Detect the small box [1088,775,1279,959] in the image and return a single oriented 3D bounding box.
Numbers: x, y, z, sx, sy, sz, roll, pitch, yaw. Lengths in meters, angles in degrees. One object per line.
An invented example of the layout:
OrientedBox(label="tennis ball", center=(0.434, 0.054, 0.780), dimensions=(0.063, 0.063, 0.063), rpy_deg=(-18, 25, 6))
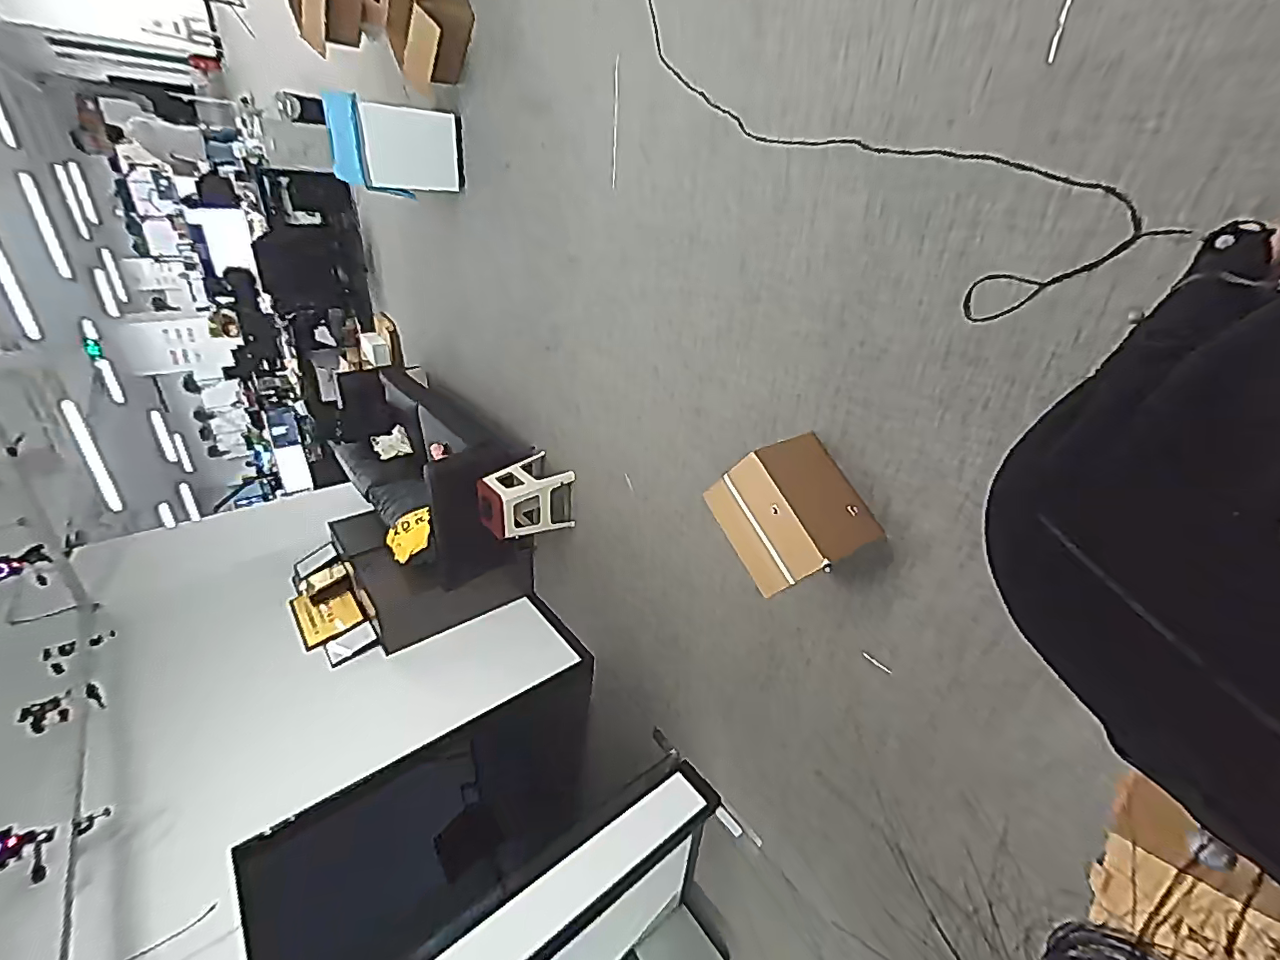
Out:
OrientedBox(label="small box", center=(0.713, 0.512, 0.681), dimensions=(0.179, 0.176, 0.168), rpy_deg=(19, 119, 51))
